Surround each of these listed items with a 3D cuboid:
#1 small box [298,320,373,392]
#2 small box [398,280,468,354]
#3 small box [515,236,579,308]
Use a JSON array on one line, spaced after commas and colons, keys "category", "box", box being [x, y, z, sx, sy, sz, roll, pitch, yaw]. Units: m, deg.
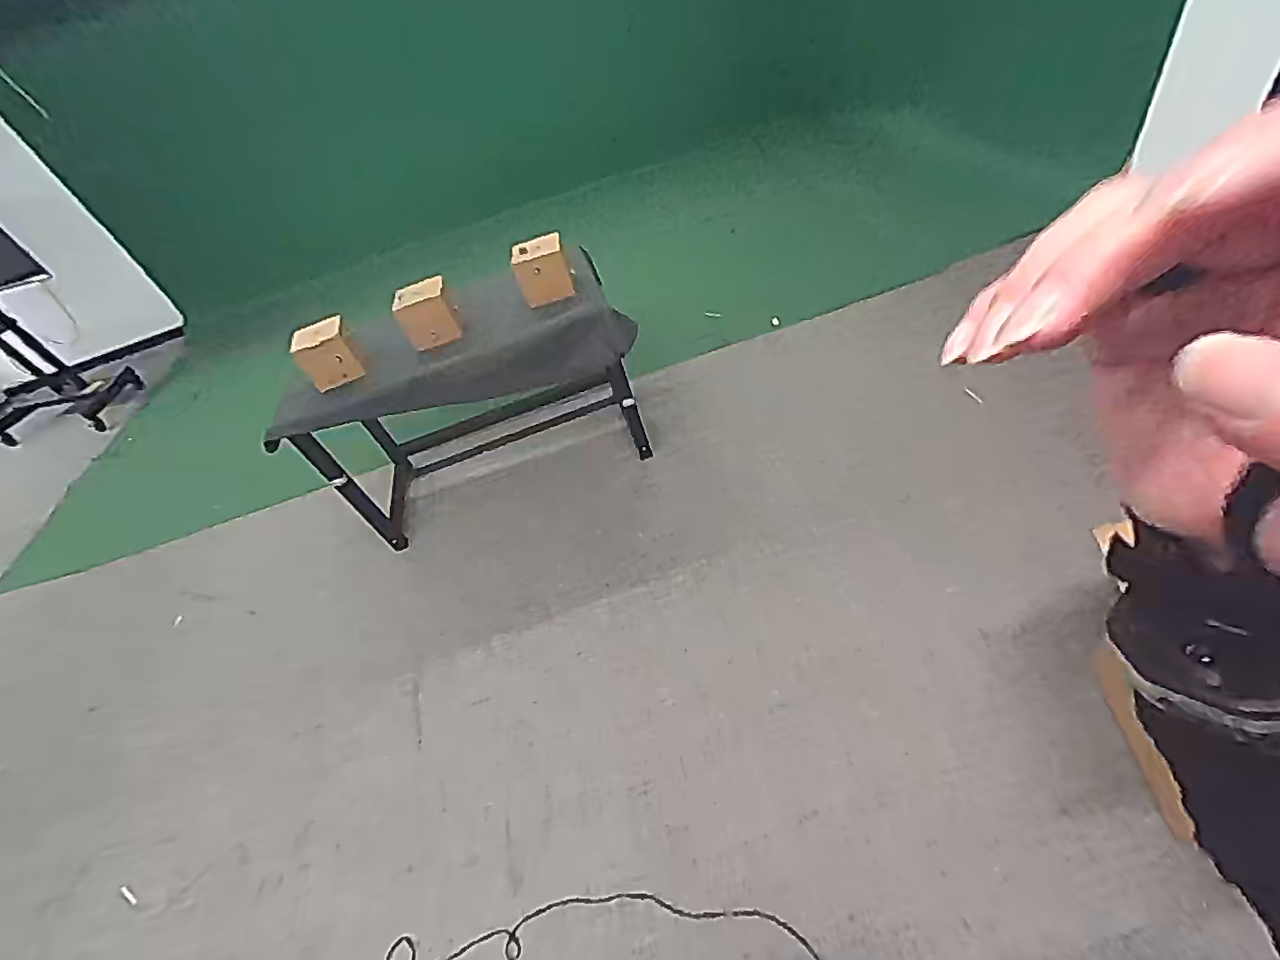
[{"category": "small box", "box": [-1.069, -0.431, 1.910, 0.168, 0.176, 0.179, -25, 42, -7]}, {"category": "small box", "box": [-0.731, -0.580, 1.931, 0.179, 0.176, 0.168, -18, 44, 2]}, {"category": "small box", "box": [-0.330, -0.741, 1.938, 0.179, 0.176, 0.168, -15, 44, 5]}]
